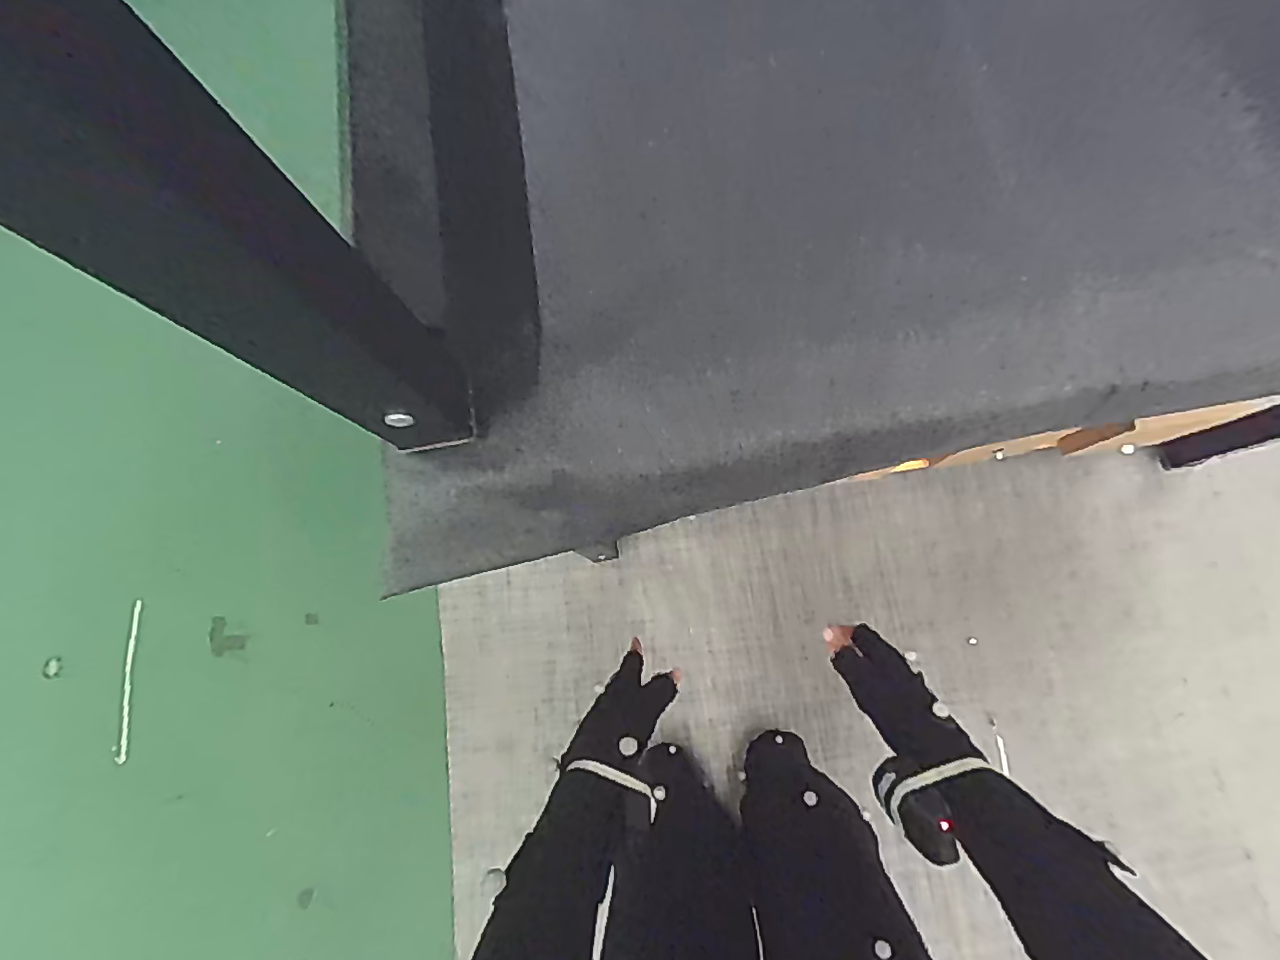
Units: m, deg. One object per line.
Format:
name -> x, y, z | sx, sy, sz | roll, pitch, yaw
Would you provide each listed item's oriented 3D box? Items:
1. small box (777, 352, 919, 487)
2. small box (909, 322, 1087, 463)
small box -> 0.338, -0.091, 0.913 | 0.168, 0.176, 0.179 | -8, 77, 2
small box -> 0.579, -0.134, 0.902 | 0.168, 0.176, 0.179 | -10, 76, 3
